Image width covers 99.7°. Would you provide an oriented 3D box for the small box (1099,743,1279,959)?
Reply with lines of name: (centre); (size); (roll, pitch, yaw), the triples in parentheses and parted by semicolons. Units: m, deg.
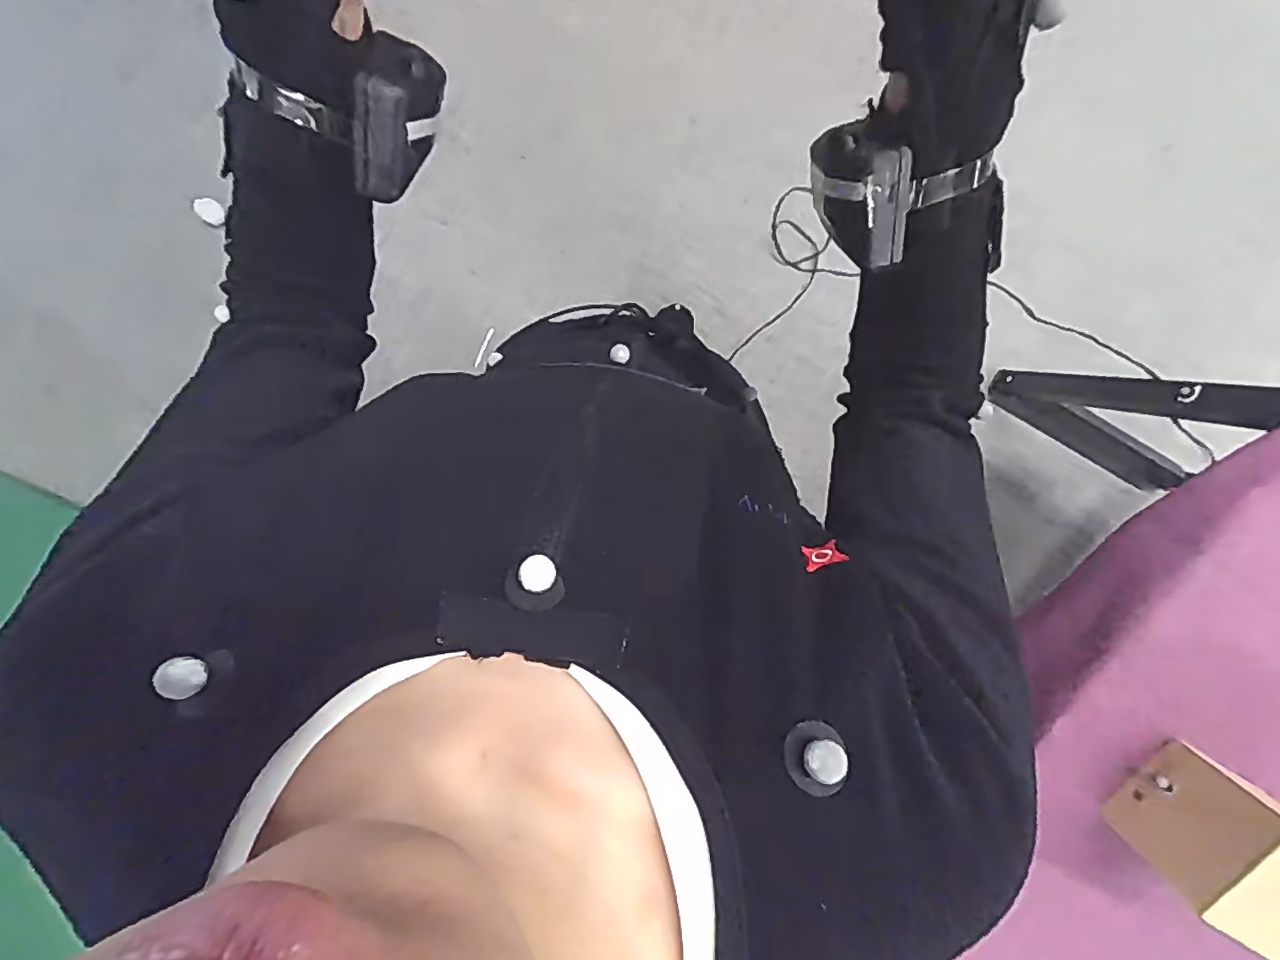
small box: (0.817, 0.509, 0.752); (0.179, 0.176, 0.168); (32, 101, -6)
